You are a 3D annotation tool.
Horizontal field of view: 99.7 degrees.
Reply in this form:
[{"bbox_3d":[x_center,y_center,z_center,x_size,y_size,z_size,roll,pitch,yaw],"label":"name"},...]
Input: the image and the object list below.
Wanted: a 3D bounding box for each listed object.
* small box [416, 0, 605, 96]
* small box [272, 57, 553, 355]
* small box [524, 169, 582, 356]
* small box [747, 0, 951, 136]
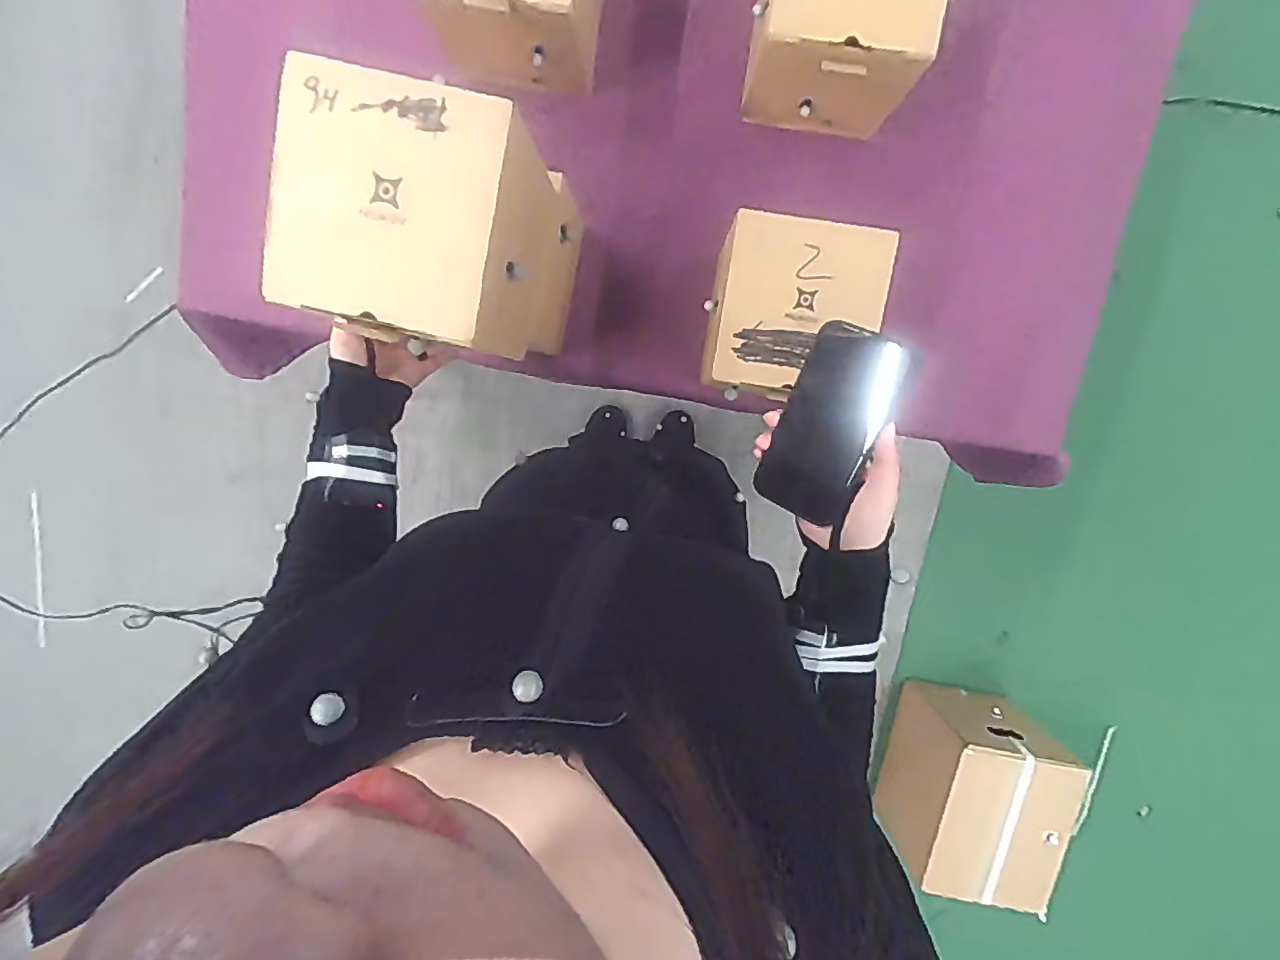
[{"bbox_3d":[-0.128,-0.559,0.585,0.168,0.176,0.179,10,100,-1],"label":"small box"},{"bbox_3d":[-0.181,-0.213,0.476,0.168,0.176,0.179,12,100,-1],"label":"small box"},{"bbox_3d":[-0.169,-0.253,0.635,0.168,0.176,0.179,13,99,0],"label":"small box"},{"bbox_3d":[0.219,-0.511,0.582,0.168,0.176,0.179,8,100,1],"label":"small box"}]
